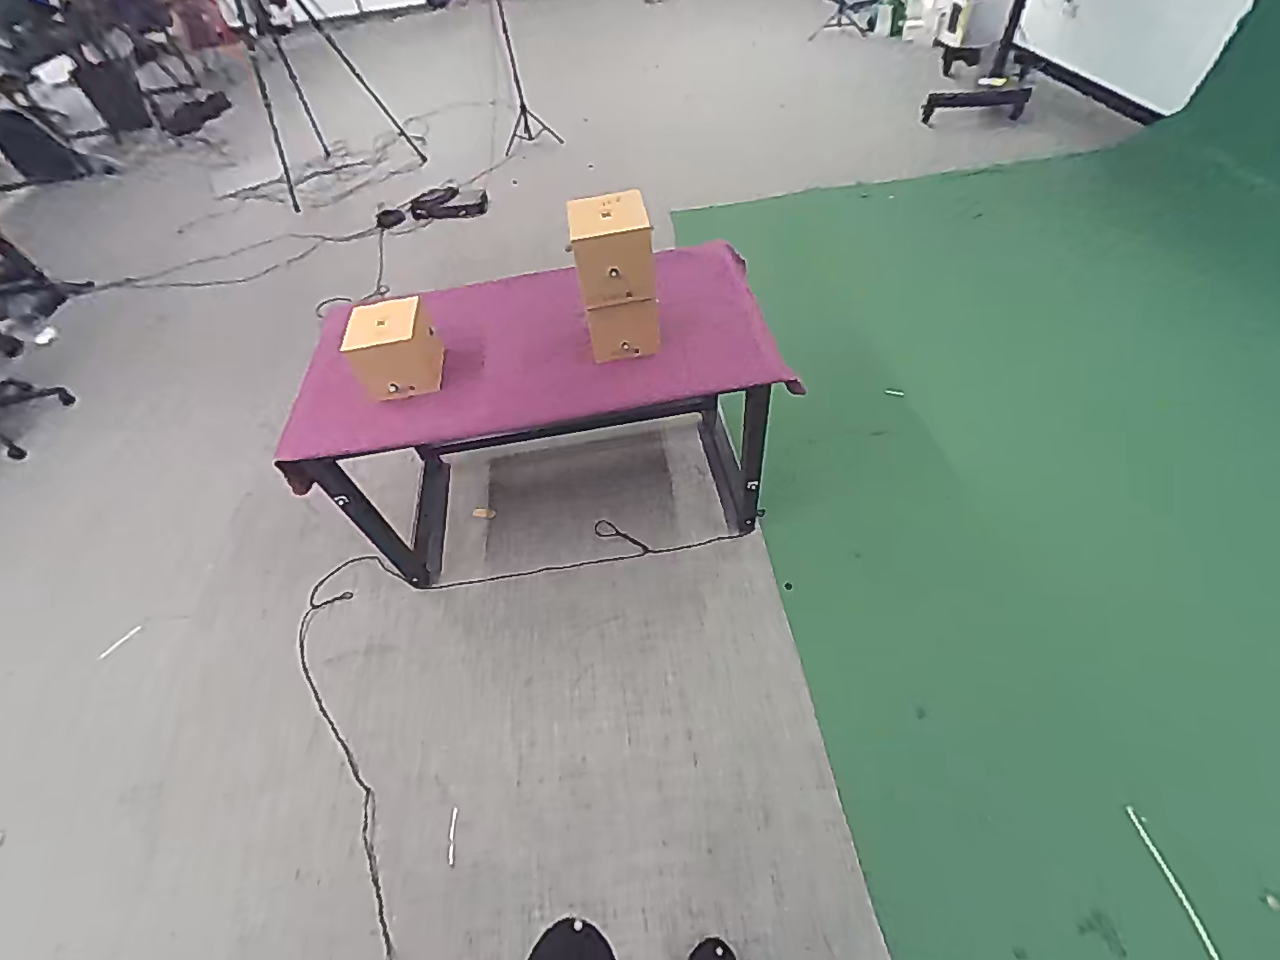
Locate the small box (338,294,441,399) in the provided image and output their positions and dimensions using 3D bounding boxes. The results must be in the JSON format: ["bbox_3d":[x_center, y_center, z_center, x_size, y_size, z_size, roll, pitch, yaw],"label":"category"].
[{"bbox_3d":[-0.601,-0.325,1.324,0.168,0.176,0.179,-10,52,-1],"label":"small box"}]

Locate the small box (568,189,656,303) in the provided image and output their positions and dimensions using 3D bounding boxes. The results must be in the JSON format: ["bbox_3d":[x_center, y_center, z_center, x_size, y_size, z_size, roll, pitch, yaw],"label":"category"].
[{"bbox_3d":[-0.061,-0.509,1.197,0.168,0.176,0.179,-9,52,-1],"label":"small box"}]
